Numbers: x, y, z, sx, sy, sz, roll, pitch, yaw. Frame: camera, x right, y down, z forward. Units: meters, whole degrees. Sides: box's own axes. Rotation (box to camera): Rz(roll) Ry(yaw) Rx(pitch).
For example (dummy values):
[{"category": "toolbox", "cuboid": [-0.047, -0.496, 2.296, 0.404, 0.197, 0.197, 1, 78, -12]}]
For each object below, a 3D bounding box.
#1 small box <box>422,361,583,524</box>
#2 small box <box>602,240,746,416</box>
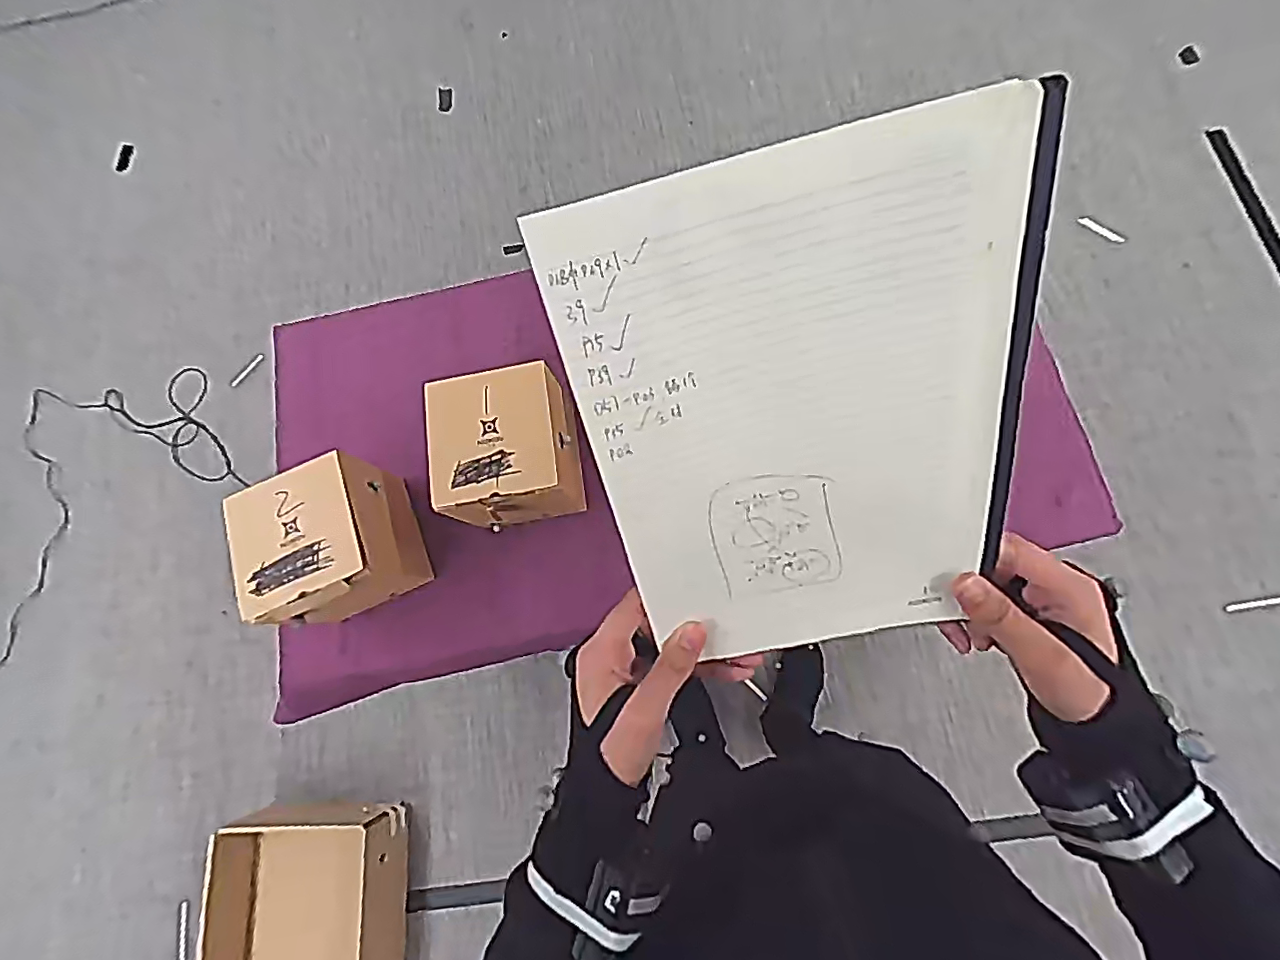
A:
[{"category": "small box", "cuboid": [-0.183, -0.039, 0.758, 0.168, 0.176, 0.179, -10, 75, 4]}, {"category": "small box", "cuboid": [0.050, -0.201, 0.771, 0.168, 0.176, 0.179, -10, 76, 3]}]
